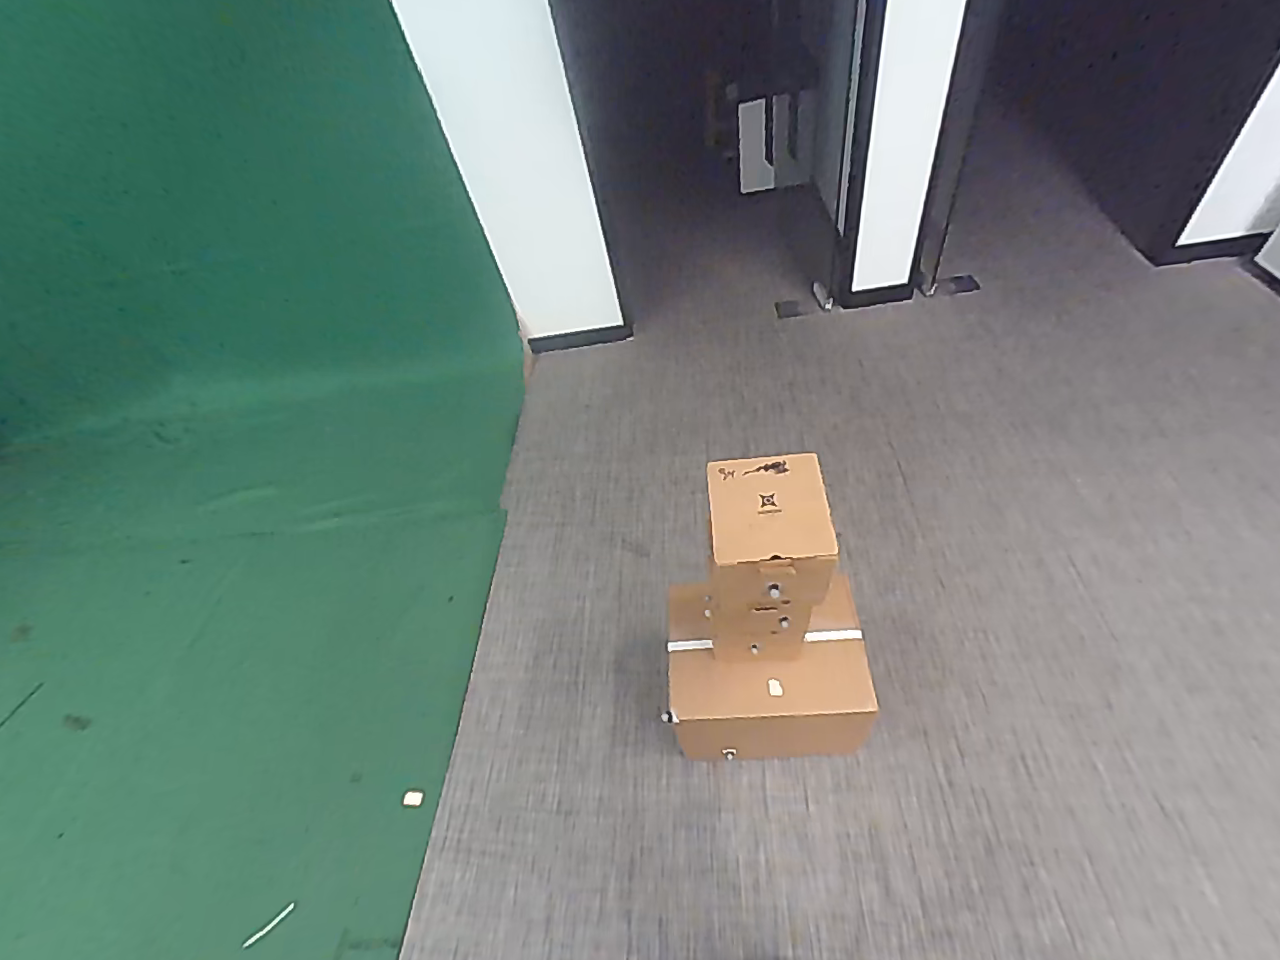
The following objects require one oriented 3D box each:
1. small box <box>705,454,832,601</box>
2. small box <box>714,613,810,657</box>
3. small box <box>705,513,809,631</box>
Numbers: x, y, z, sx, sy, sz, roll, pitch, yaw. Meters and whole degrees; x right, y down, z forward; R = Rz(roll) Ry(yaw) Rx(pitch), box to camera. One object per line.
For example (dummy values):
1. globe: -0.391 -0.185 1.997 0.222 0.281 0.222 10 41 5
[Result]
1. small box: 0.194 0.083 0.844 0.168 0.176 0.179 -5 56 8
2. small box: 0.240 0.258 1.114 0.179 0.176 0.168 -7 56 8
3. small box: 0.210 0.168 0.983 0.168 0.176 0.179 -5 54 8
